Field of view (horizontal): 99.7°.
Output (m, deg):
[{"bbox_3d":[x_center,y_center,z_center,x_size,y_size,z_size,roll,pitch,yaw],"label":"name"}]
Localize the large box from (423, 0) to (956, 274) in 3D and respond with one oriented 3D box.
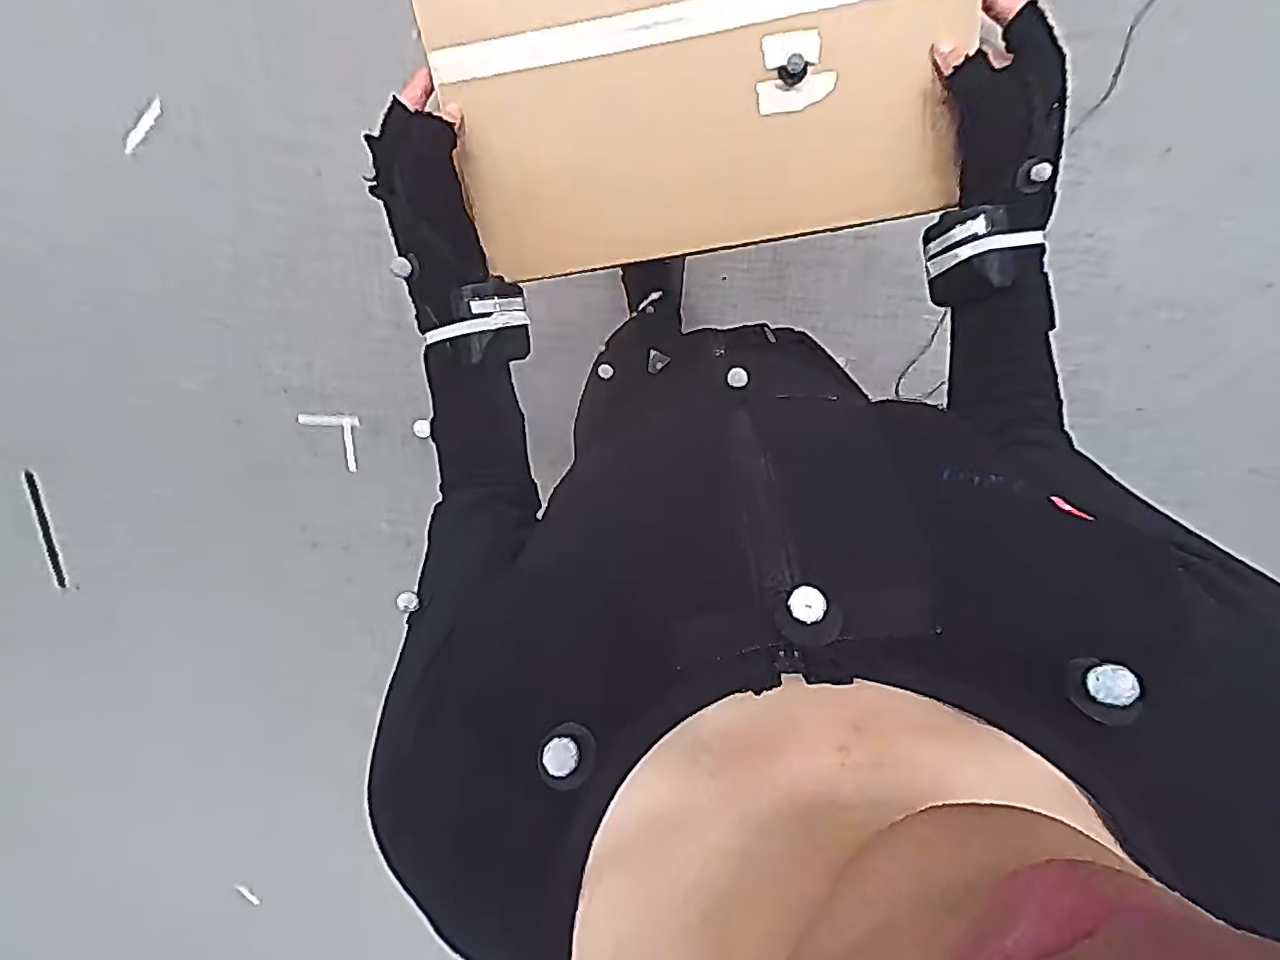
[{"bbox_3d":[0.037,-0.404,0.549,0.408,0.320,0.320,-8,111,3],"label":"large box"}]
